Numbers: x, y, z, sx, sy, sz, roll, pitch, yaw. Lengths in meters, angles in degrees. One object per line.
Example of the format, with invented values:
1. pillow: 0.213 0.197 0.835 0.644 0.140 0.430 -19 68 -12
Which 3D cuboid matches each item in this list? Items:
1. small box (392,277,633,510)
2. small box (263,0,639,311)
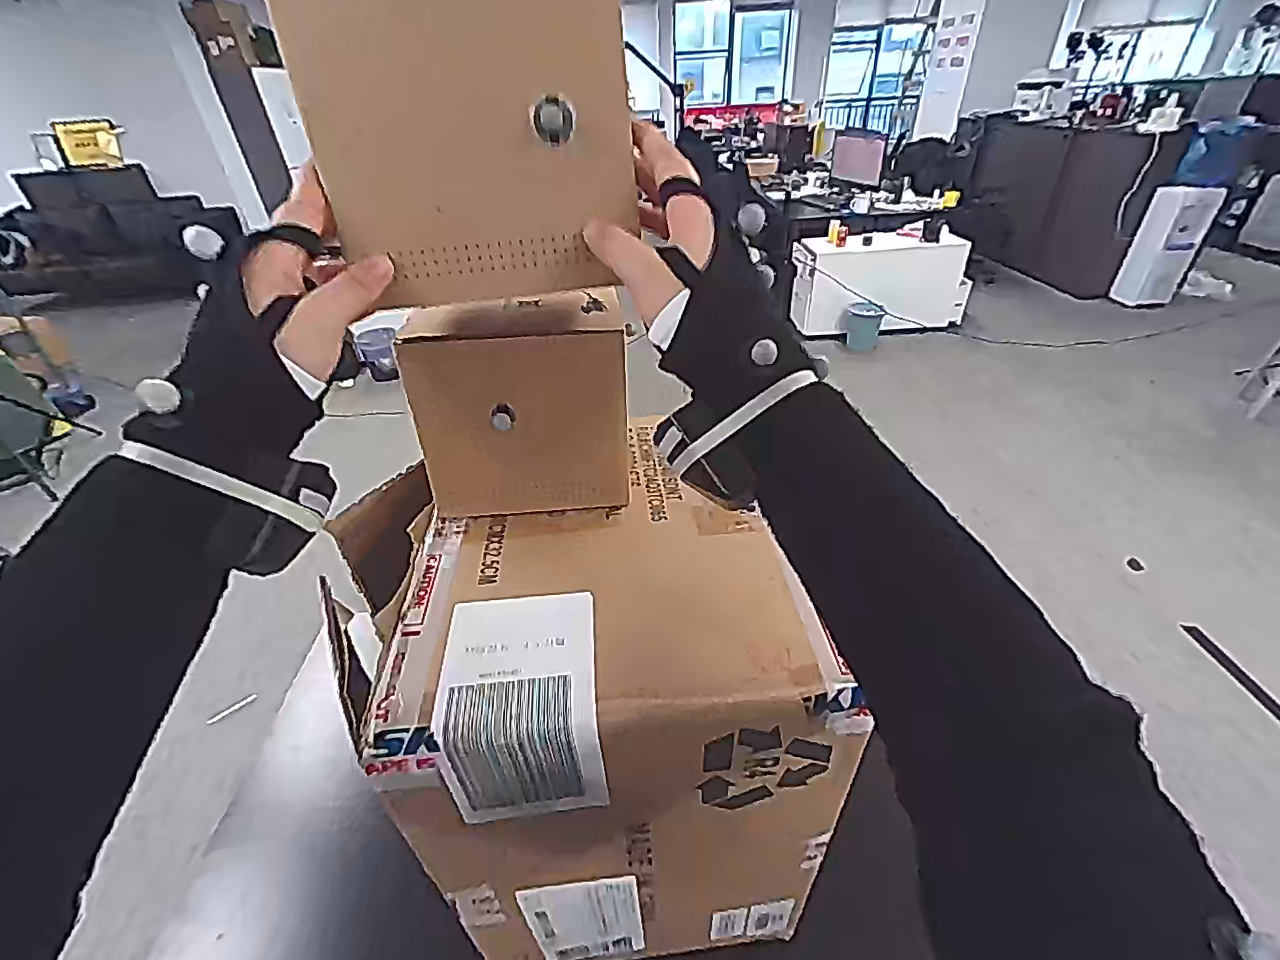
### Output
1. small box: -0.103 -0.084 0.514 0.179 0.176 0.168 -5 34 -4
2. small box: -0.096 -0.219 0.358 0.179 0.176 0.168 -9 26 -4
